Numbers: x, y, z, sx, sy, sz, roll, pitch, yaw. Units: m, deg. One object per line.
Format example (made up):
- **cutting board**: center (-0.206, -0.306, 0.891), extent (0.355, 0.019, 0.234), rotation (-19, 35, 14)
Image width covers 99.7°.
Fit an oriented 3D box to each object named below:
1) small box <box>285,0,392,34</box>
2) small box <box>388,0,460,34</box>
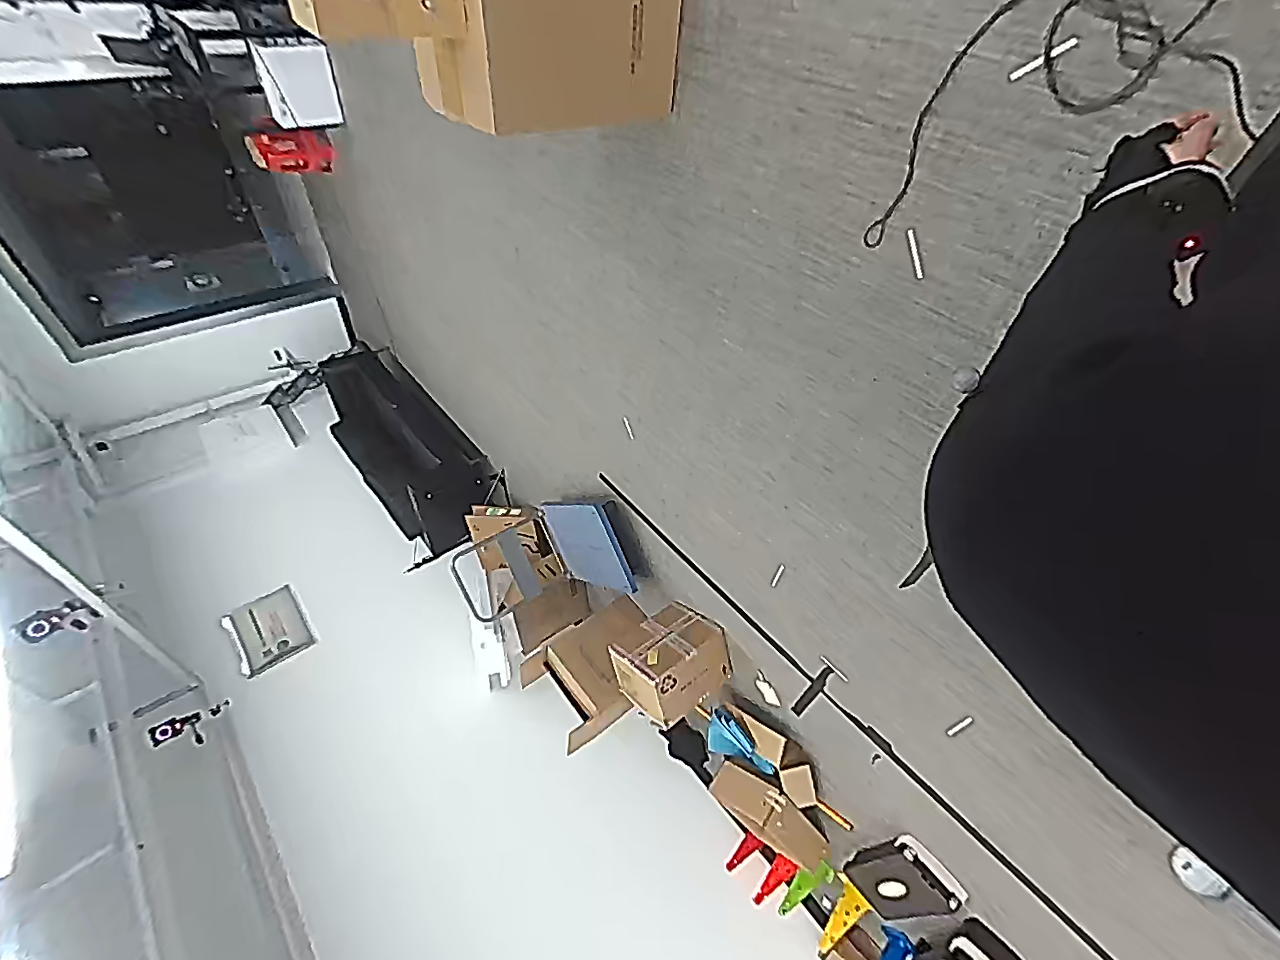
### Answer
- **small box**: center (-0.648, -1.058, 1.129), extent (0.179, 0.176, 0.168), rotation (45, 148, 27)
- **small box**: center (-0.517, -1.123, 1.208), extent (0.179, 0.176, 0.168), rotation (44, 147, 29)
